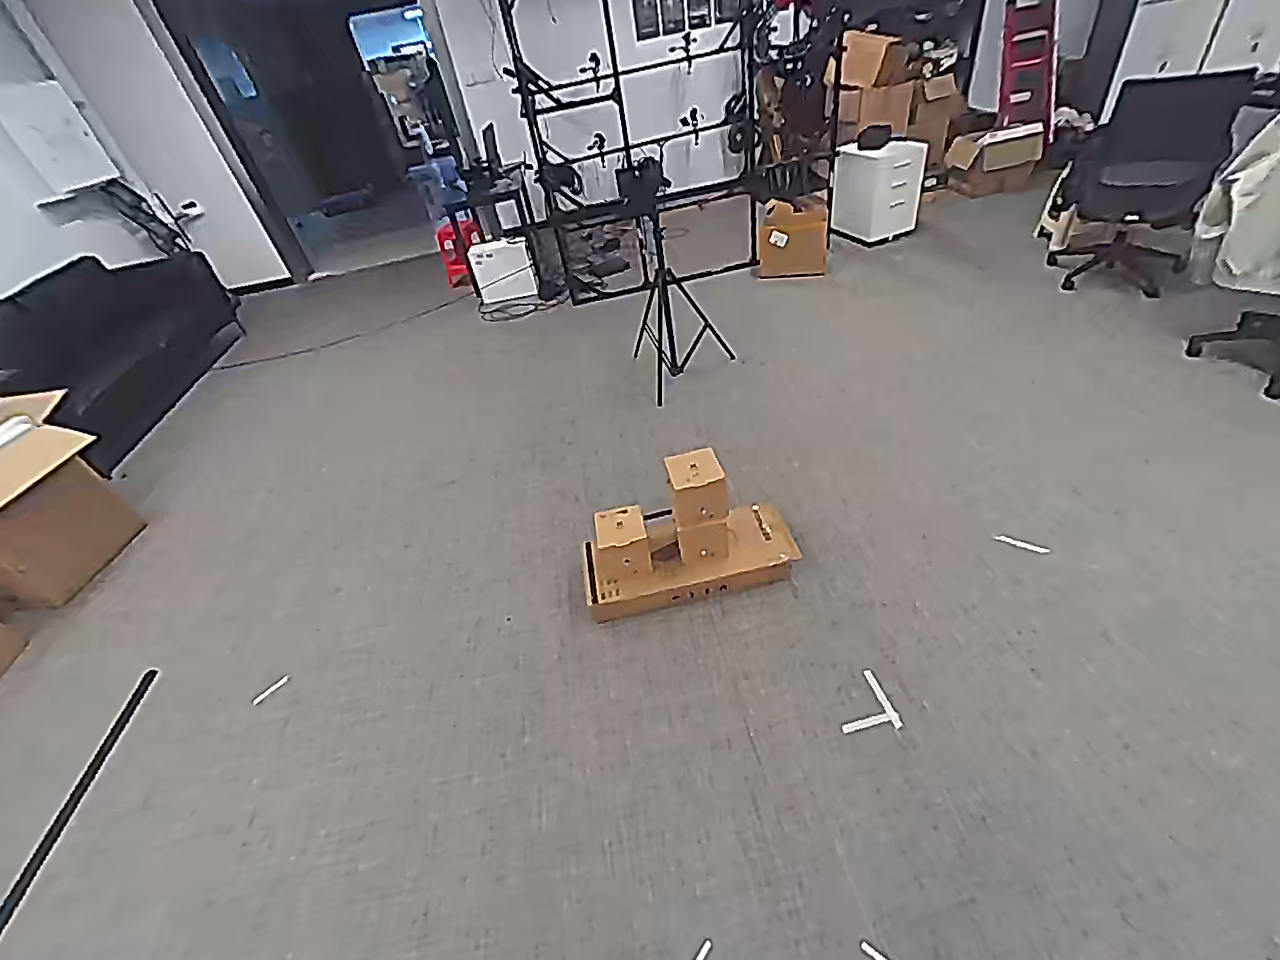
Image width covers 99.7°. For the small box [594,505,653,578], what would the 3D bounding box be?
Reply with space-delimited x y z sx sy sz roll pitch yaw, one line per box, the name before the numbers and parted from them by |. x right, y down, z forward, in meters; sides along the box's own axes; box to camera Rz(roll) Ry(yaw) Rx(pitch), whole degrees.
small box | -0.056 0.219 1.871 0.168 0.176 0.179 -12 41 -1

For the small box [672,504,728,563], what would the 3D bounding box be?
small box | 0.207 0.162 1.877 0.168 0.176 0.179 -11 40 2

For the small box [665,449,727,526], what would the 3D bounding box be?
small box | 0.184 0.026 1.784 0.168 0.176 0.179 -14 39 -2
